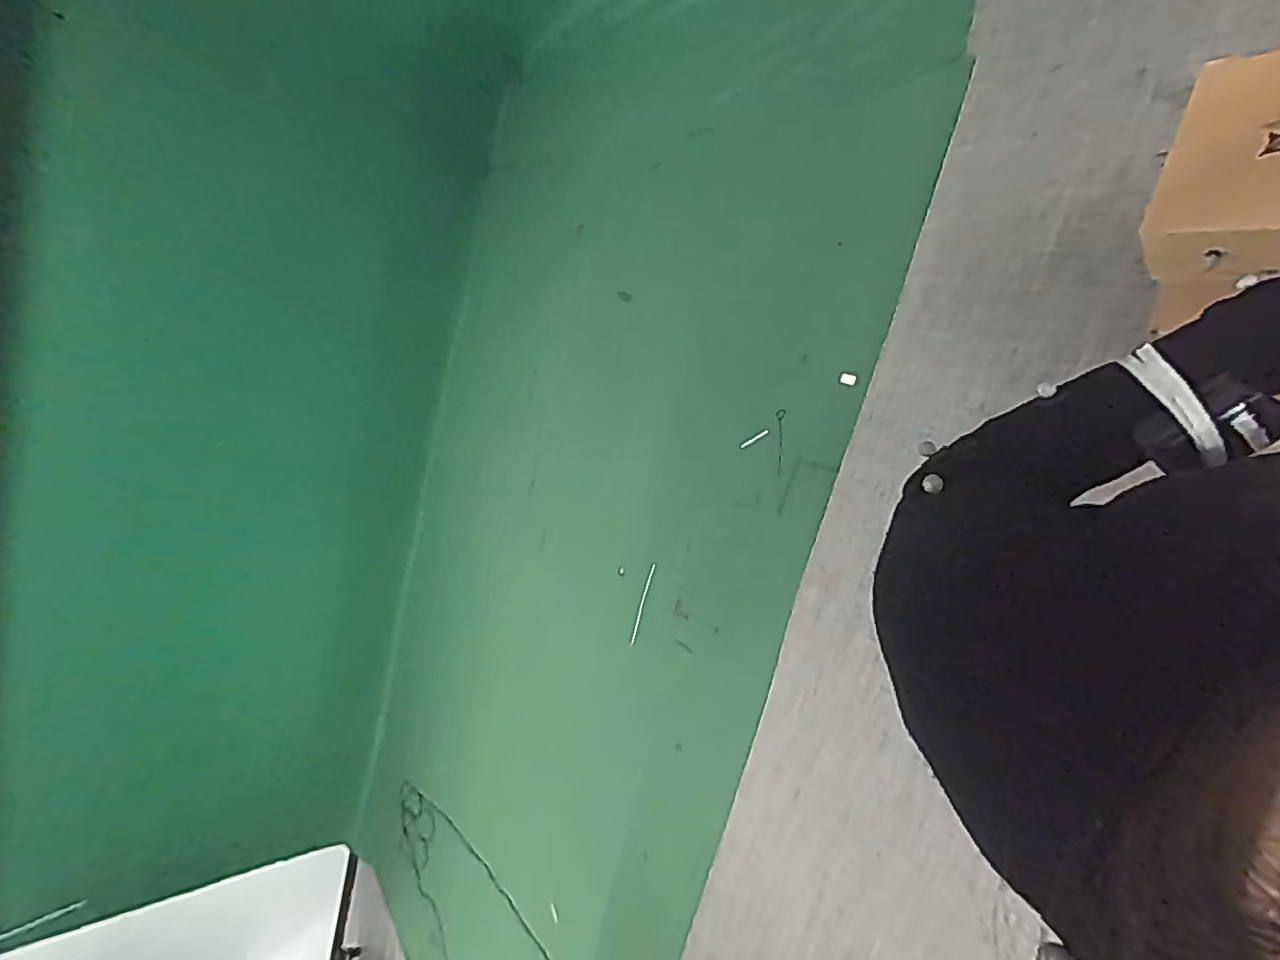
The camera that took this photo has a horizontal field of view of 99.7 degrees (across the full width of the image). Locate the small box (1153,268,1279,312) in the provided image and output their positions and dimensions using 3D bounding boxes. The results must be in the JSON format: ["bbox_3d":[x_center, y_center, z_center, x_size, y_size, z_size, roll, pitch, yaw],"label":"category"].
[{"bbox_3d":[0.807,-0.332,0.701,0.168,0.176,0.179,25,106,45],"label":"small box"}]

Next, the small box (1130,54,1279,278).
[{"bbox_3d":[0.685,-0.331,0.593,0.168,0.176,0.179,24,104,45],"label":"small box"}]
